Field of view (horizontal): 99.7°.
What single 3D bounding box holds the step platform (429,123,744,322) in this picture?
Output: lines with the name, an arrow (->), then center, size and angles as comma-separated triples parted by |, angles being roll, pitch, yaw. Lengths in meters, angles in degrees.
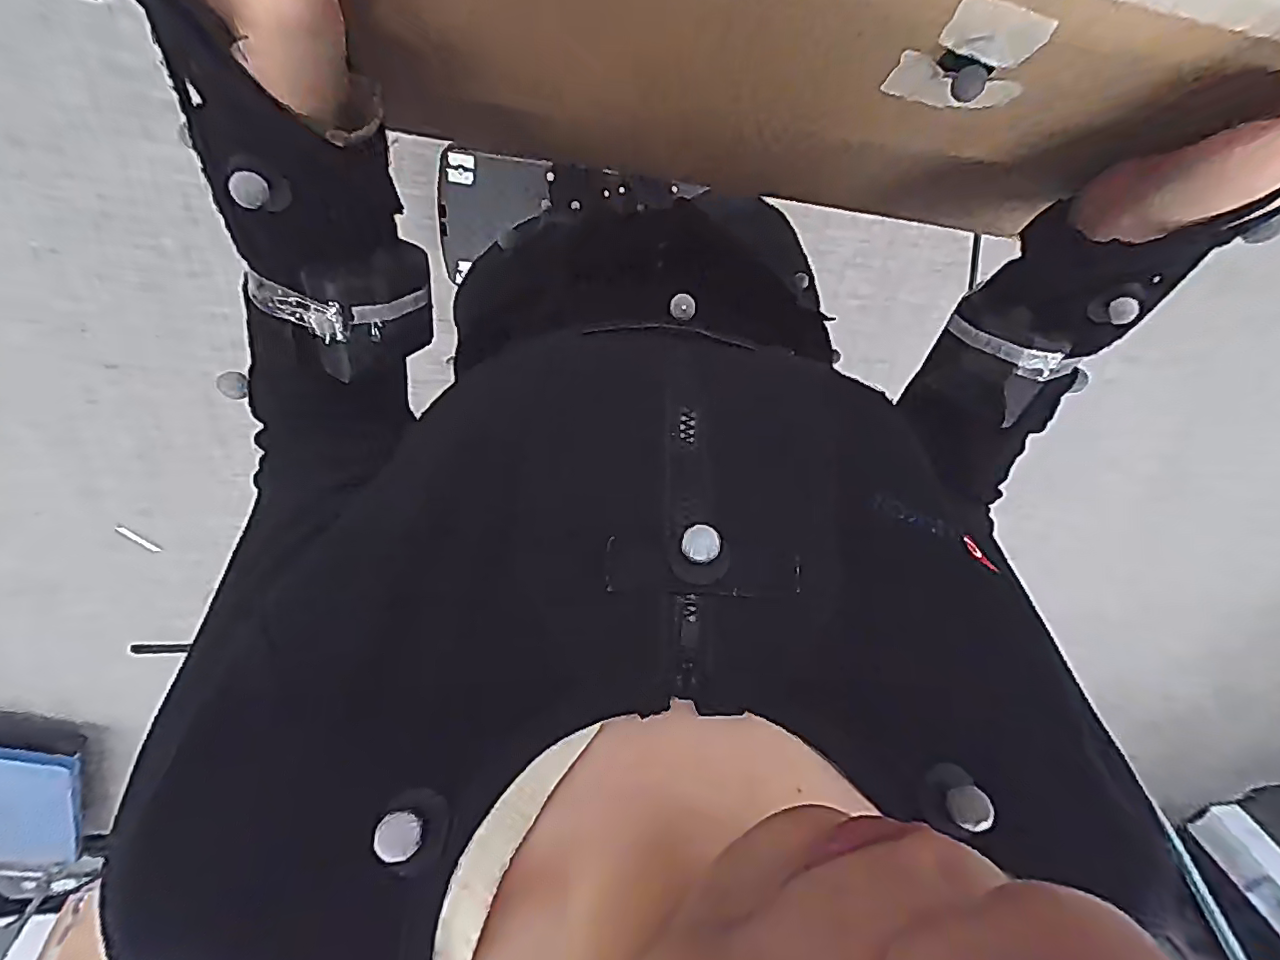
step platform -> -0.115, -0.568, 1.229 | 0.684, 0.204, 0.286 | 7, 122, -11
